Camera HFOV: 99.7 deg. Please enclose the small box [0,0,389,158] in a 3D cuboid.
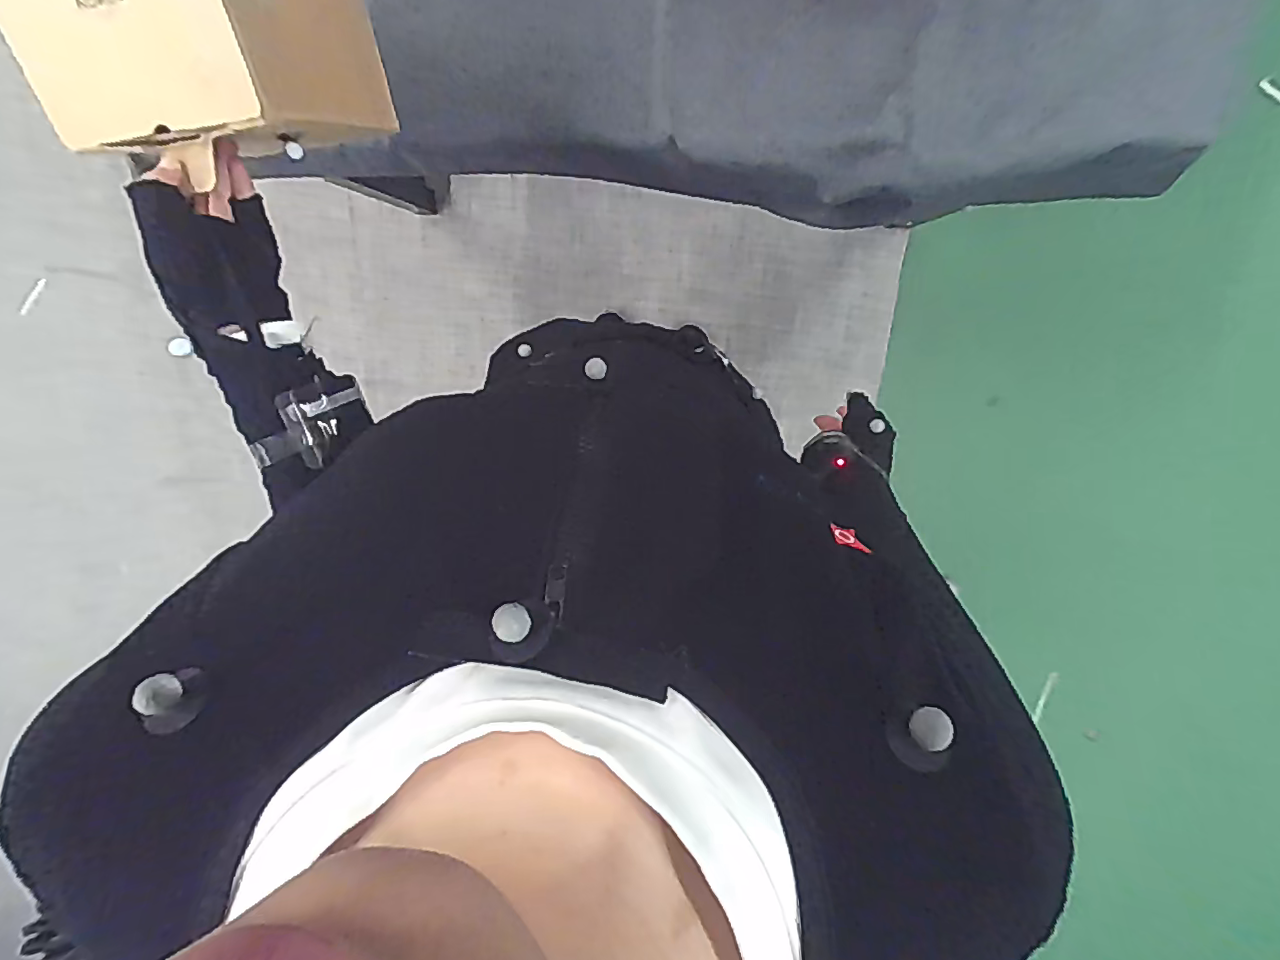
[{"bbox_3d":[-0.315,-0.341,0.388,0.168,0.176,0.179,-1,119,10],"label":"small box"}]
